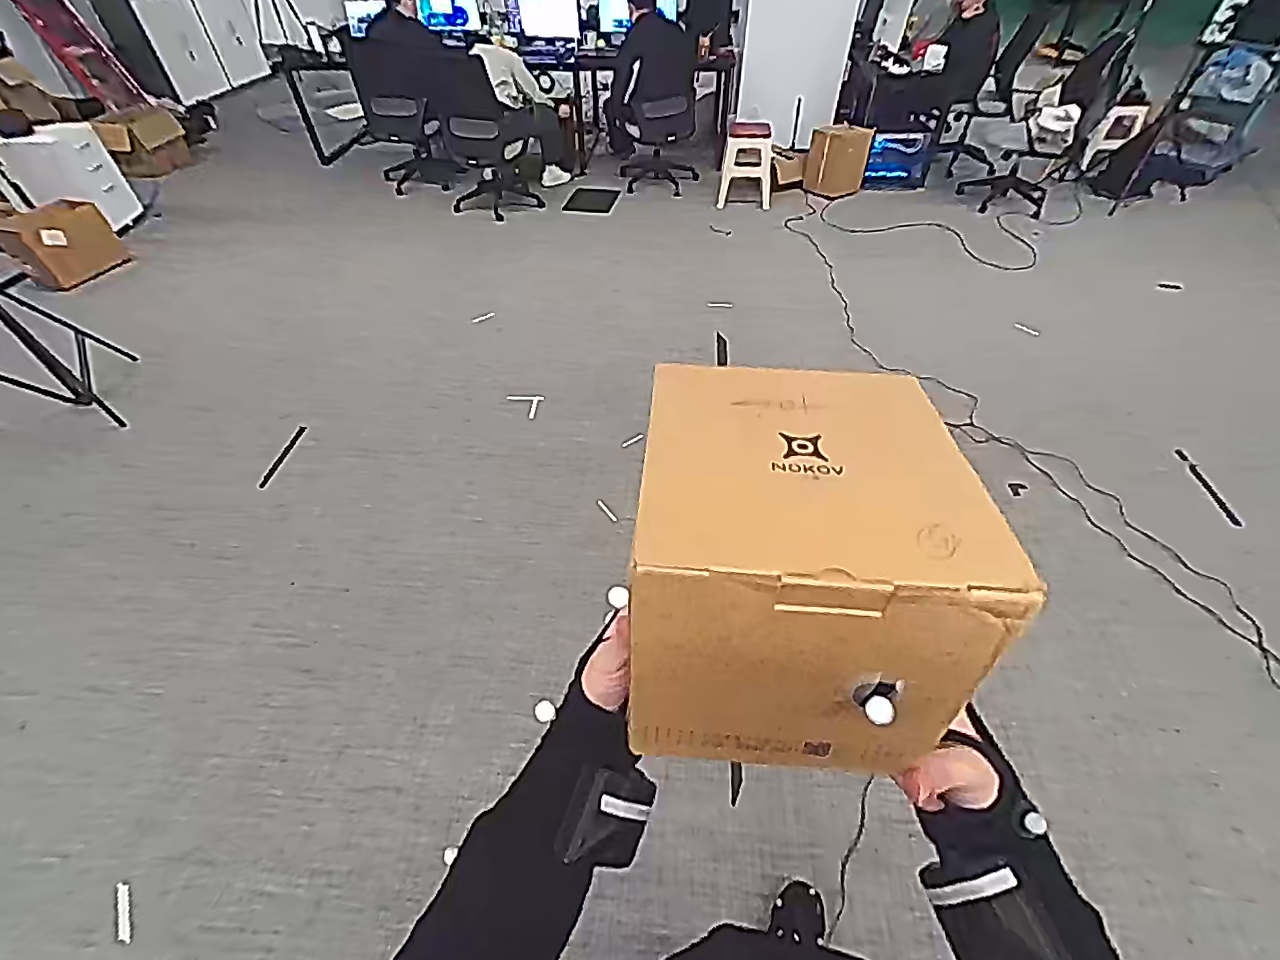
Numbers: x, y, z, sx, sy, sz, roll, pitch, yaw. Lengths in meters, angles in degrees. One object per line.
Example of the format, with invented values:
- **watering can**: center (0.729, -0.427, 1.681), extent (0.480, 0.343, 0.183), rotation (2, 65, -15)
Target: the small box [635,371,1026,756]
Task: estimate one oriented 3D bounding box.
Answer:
- **small box**: center (0.084, 0.050, 0.340), extent (0.168, 0.176, 0.179), rotation (3, 40, 1)
